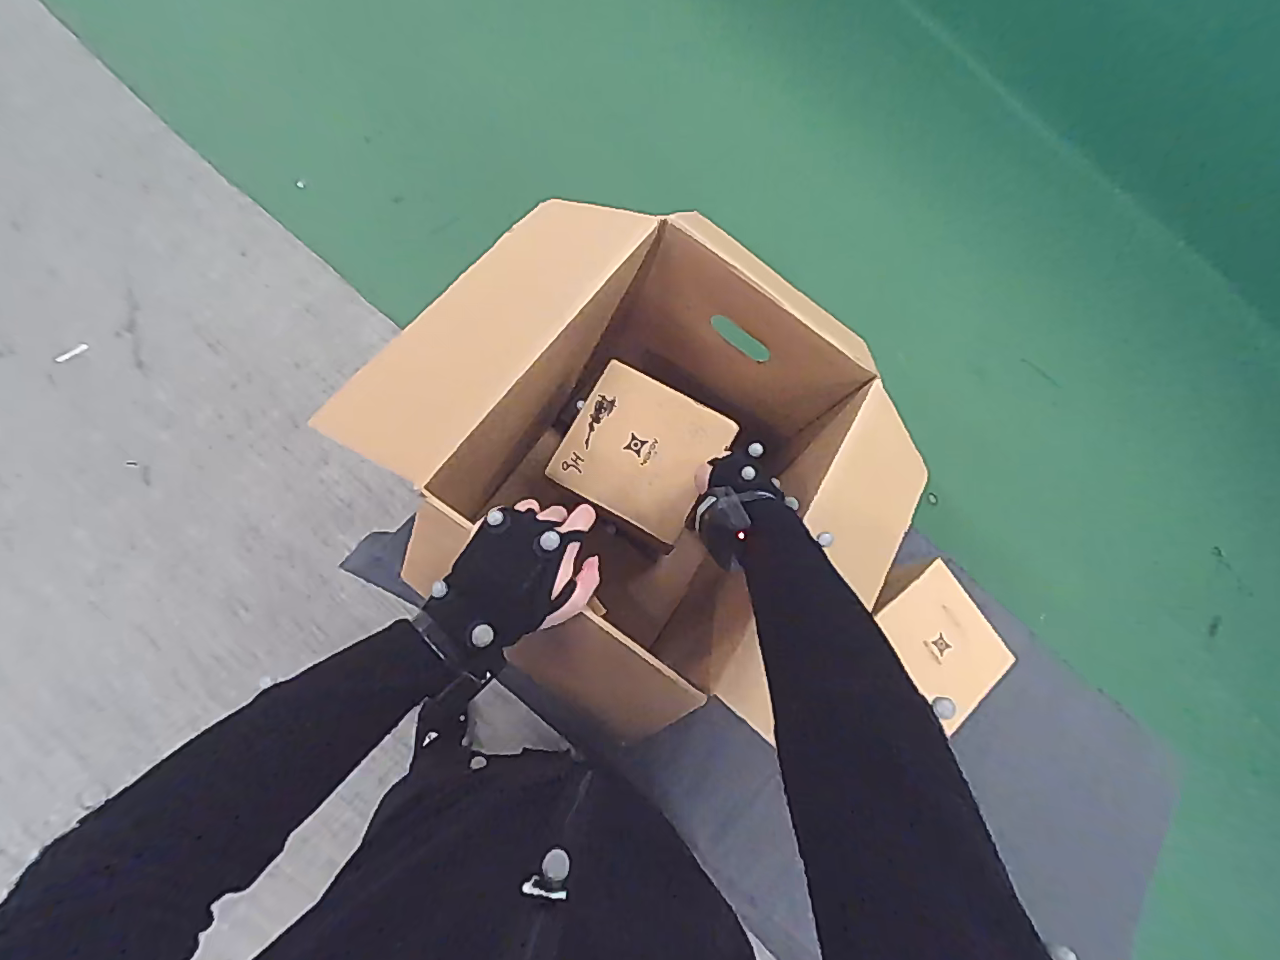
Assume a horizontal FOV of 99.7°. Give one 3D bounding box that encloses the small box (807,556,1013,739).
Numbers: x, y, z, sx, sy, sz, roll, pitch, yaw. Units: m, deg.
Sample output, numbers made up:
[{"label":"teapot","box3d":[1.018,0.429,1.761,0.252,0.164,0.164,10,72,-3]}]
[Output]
[{"label":"small box","box3d":[0.367,0.234,0.771,0.179,0.176,0.168,-32,84,-23]}]
